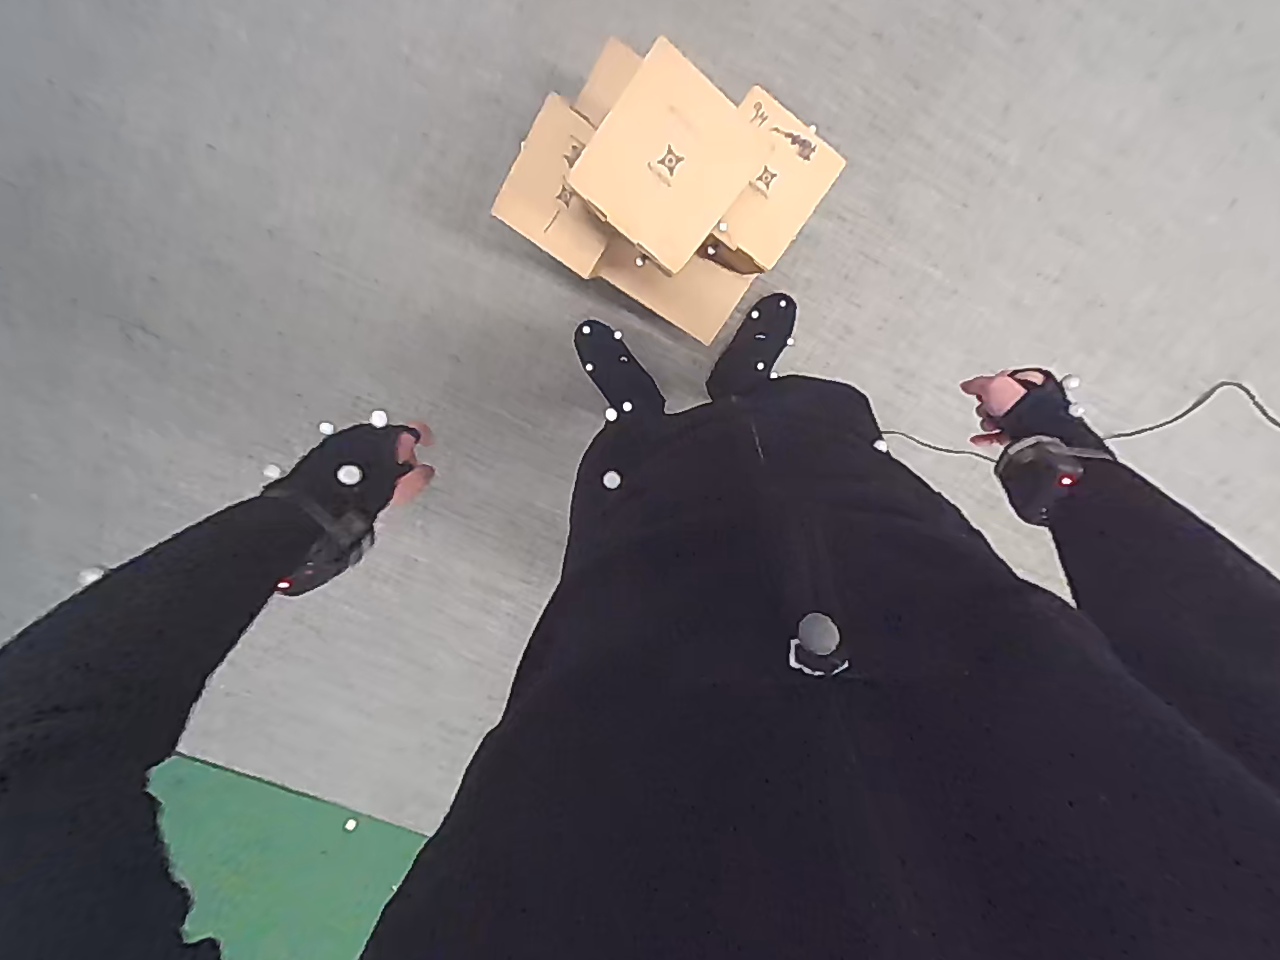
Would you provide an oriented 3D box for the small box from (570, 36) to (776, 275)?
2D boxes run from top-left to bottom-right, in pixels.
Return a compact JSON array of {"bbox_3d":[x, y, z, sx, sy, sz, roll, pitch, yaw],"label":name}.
[{"bbox_3d":[0.036,-0.377,0.674,0.168,0.176,0.179,37,104,-12],"label":"small box"}]

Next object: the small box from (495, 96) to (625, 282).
[{"bbox_3d":[-0.092,-0.429,0.829,0.168,0.176,0.179,34,108,-11],"label":"small box"}]

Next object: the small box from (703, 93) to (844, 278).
[{"bbox_3d":[0.171,-0.430,0.829,0.168,0.176,0.179,33,105,-10],"label":"small box"}]
